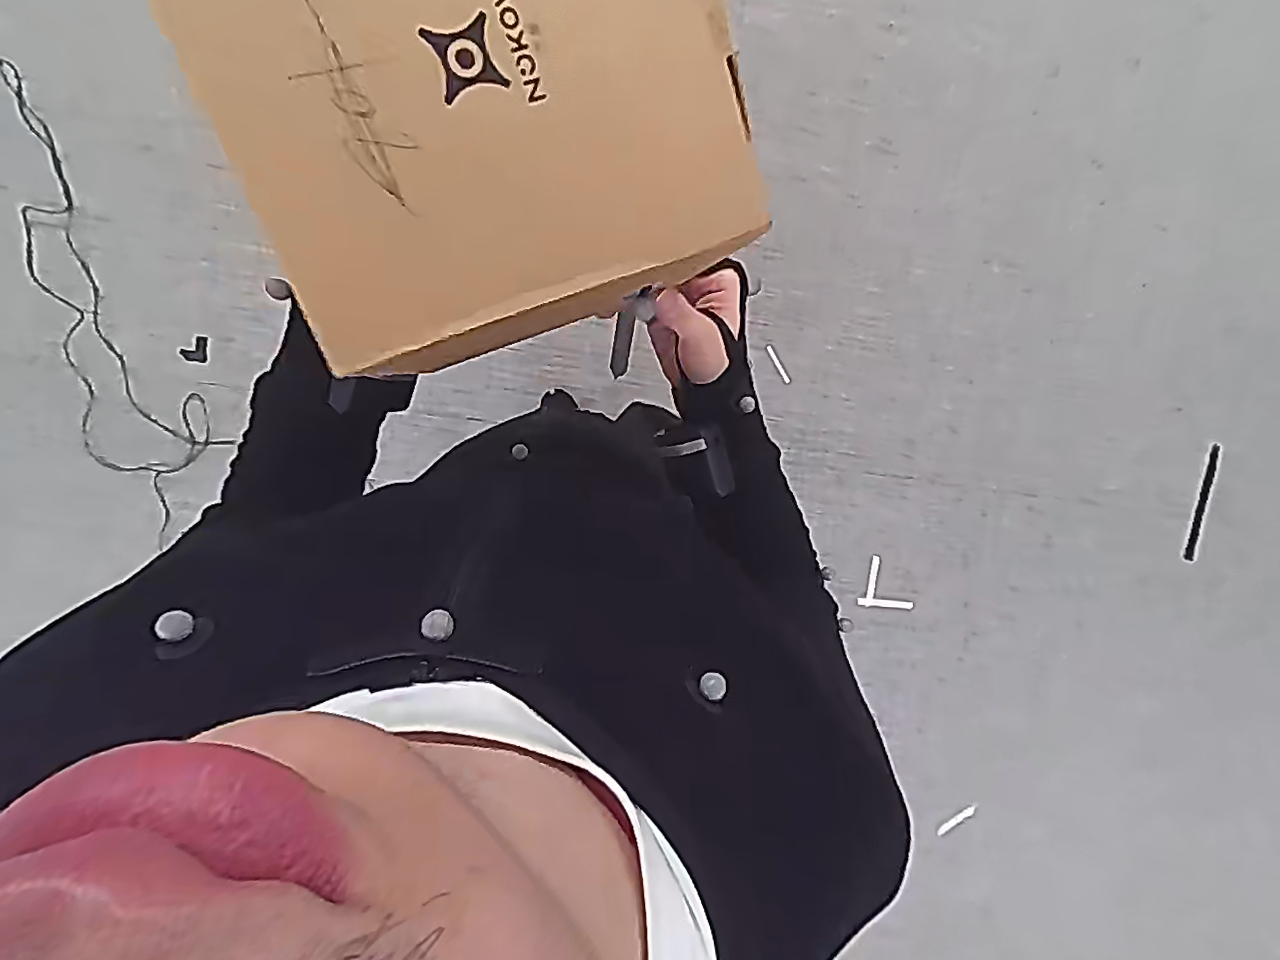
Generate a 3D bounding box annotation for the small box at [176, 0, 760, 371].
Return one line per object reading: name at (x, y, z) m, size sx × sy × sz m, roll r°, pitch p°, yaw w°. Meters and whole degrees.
small box at (-0.070, -0.163, 0.271) m, size 0.179 × 0.176 × 0.168 m, roll -23°, pitch 104°, yaw -5°
